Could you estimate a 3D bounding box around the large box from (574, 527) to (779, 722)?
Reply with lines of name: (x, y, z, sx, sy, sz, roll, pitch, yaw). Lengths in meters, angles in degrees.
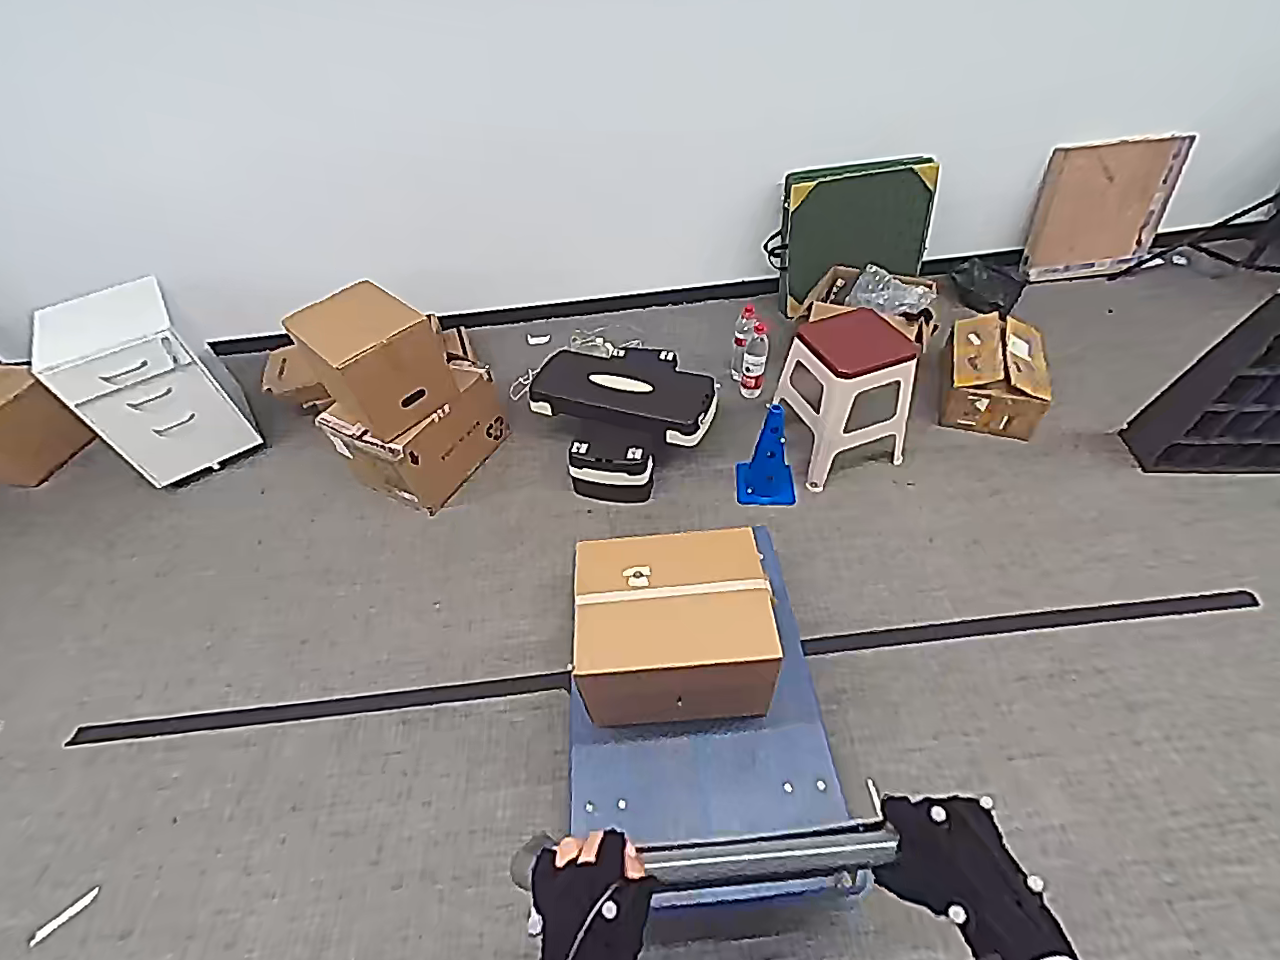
large box: (0.074, 0.339, 1.246, 0.408, 0.320, 0.320, -6, 48, 1)
